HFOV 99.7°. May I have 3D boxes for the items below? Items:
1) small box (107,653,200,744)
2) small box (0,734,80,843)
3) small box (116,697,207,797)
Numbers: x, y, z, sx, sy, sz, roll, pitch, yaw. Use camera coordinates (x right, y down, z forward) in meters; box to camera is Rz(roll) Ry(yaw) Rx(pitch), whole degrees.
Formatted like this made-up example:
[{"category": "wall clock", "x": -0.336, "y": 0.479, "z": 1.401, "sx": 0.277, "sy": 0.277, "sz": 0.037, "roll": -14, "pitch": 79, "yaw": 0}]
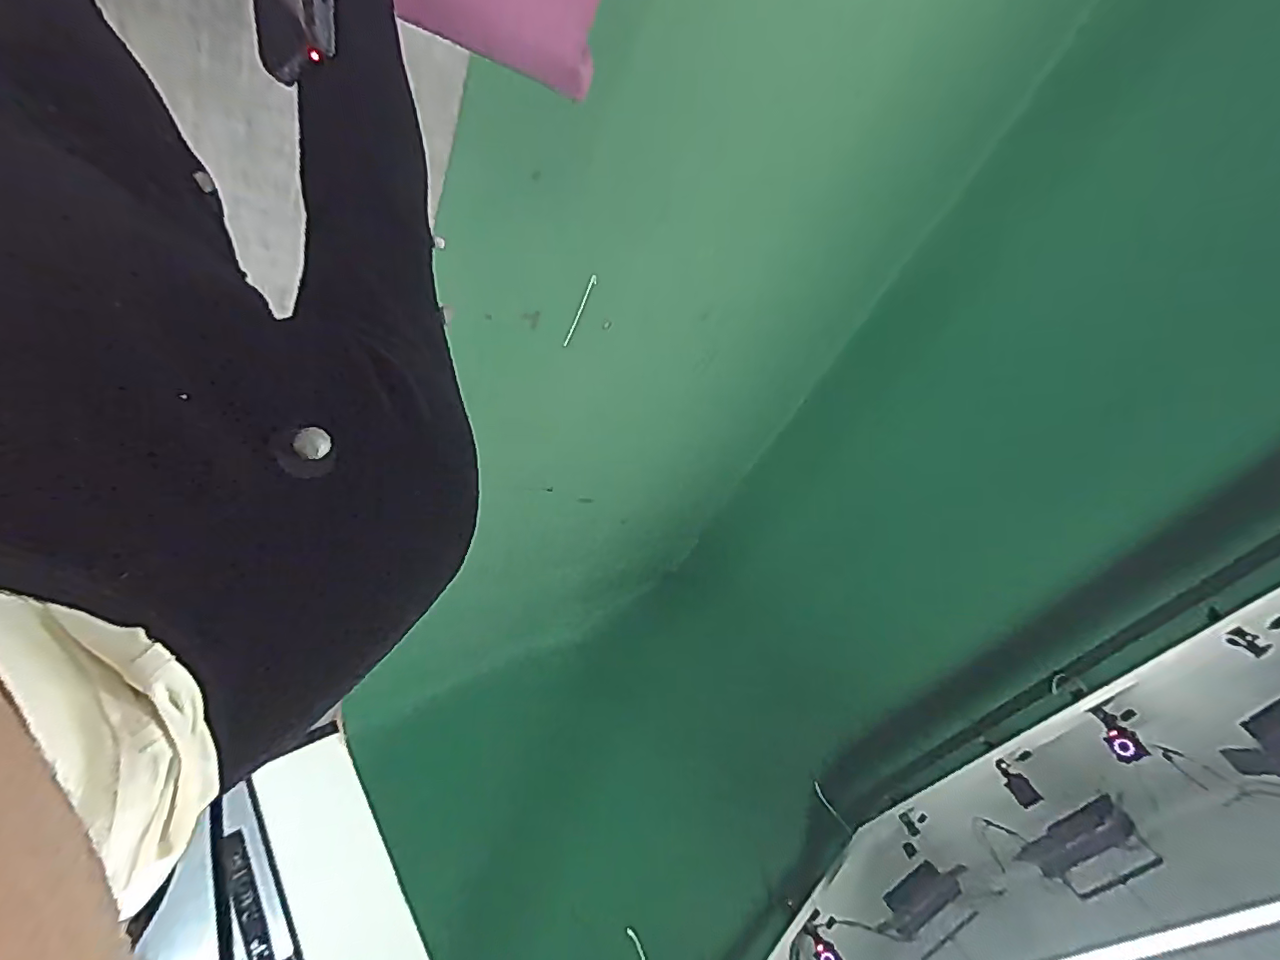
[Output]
[{"category": "small box", "x": -1.472, "y": 0.651, "z": 1.634, "sx": 0.179, "sy": 0.176, "sz": 0.168, "roll": -2, "pitch": 134, "yaw": -51}, {"category": "small box", "x": -1.534, "y": 0.766, "z": 1.351, "sx": 0.168, "sy": 0.176, "sz": 0.179, "roll": -3, "pitch": 136, "yaw": -51}, {"category": "small box", "x": -1.379, "y": 0.760, "z": 1.554, "sx": 0.168, "sy": 0.176, "sz": 0.179, "roll": -1, "pitch": 133, "yaw": -52}]
